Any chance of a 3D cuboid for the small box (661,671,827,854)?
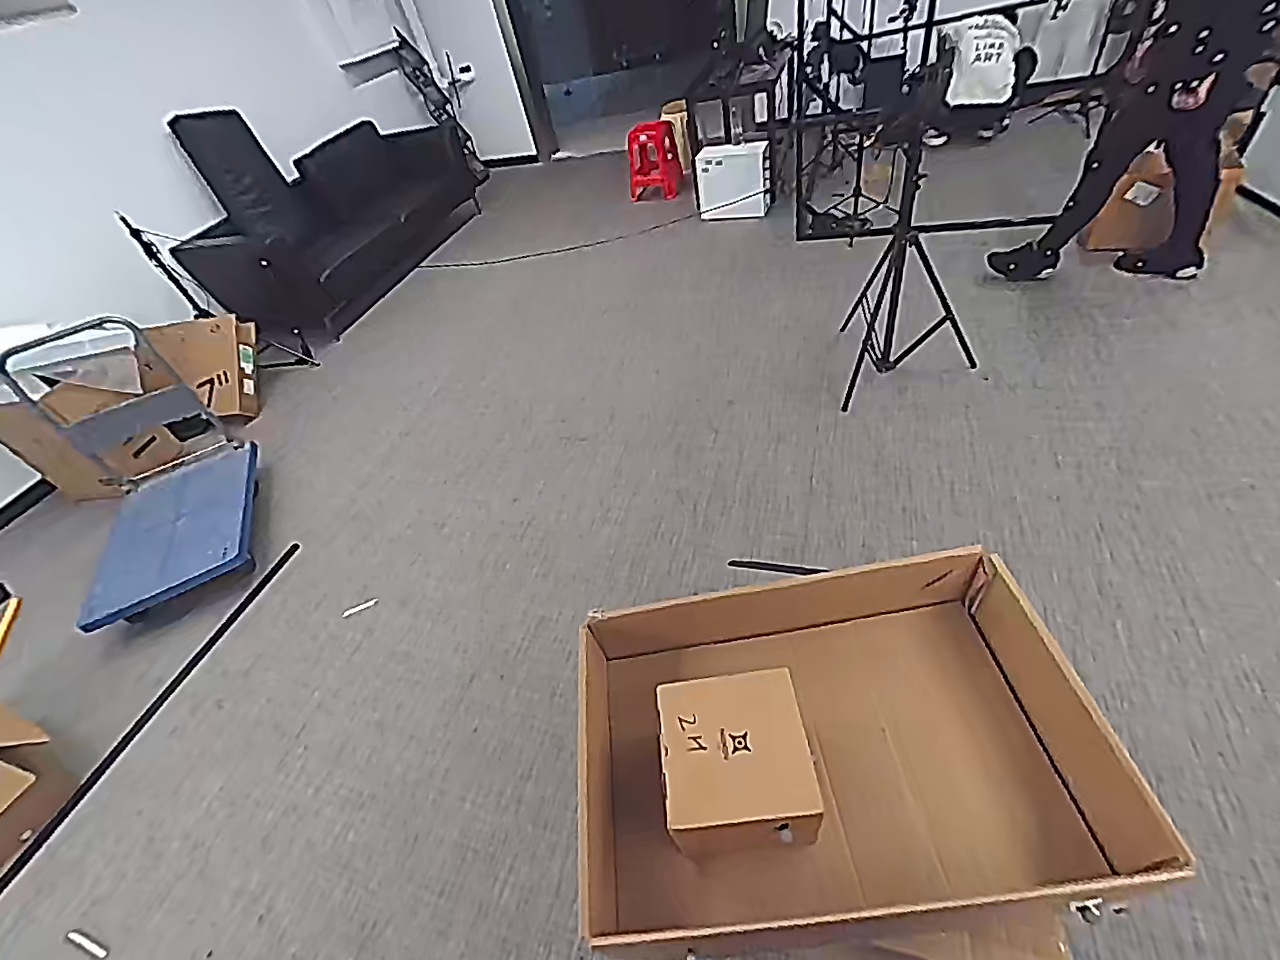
[{"bbox_3d":[0.128,0.370,0.704,0.179,0.176,0.168,-9,45,5],"label":"small box"}]
